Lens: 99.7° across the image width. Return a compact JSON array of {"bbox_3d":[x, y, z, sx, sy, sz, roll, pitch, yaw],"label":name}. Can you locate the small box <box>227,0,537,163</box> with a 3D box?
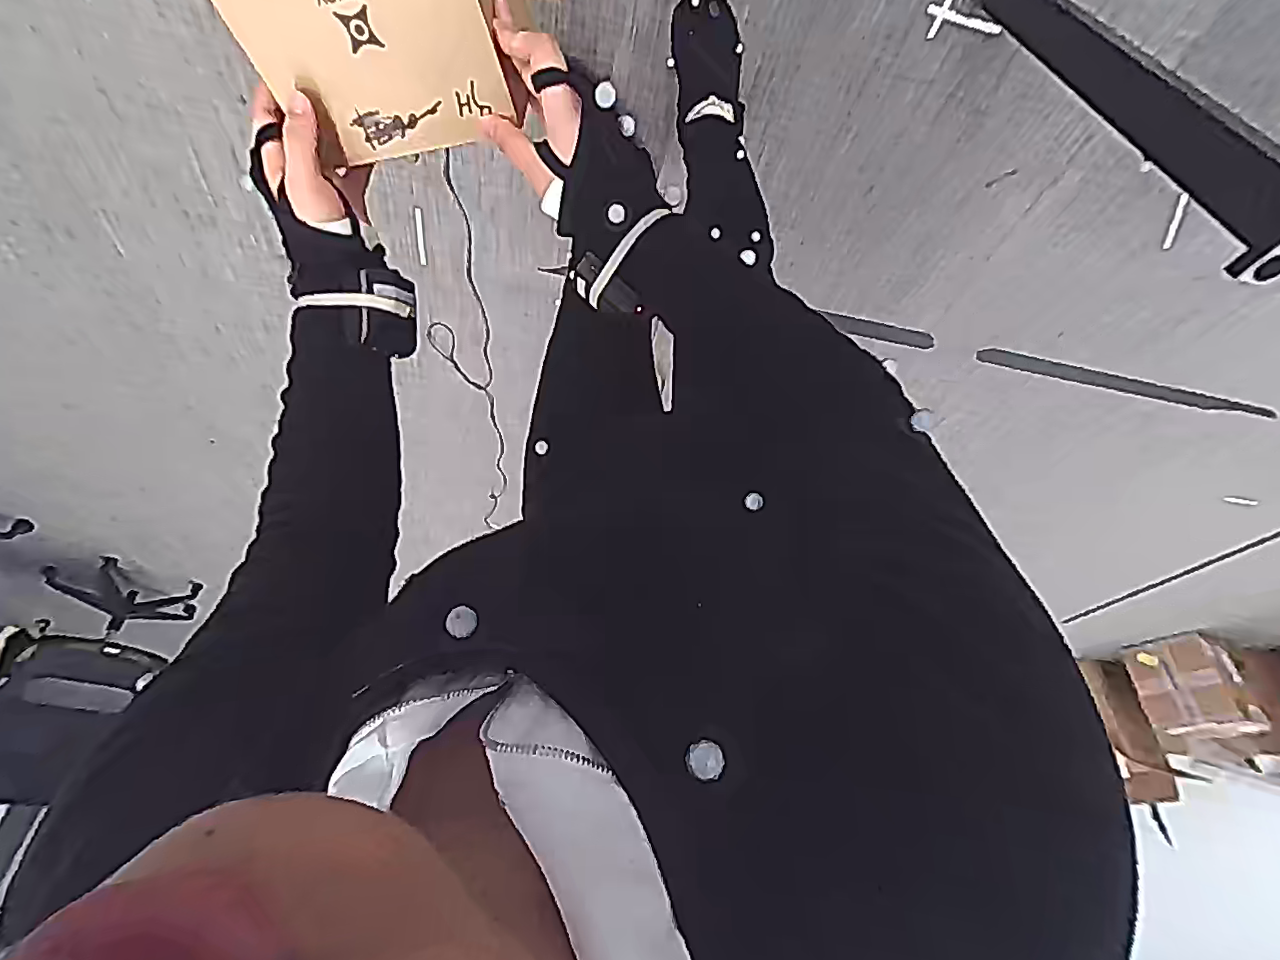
[{"bbox_3d":[-0.182,-0.372,0.392,0.168,0.176,0.179,-5,147,7],"label":"small box"}]
